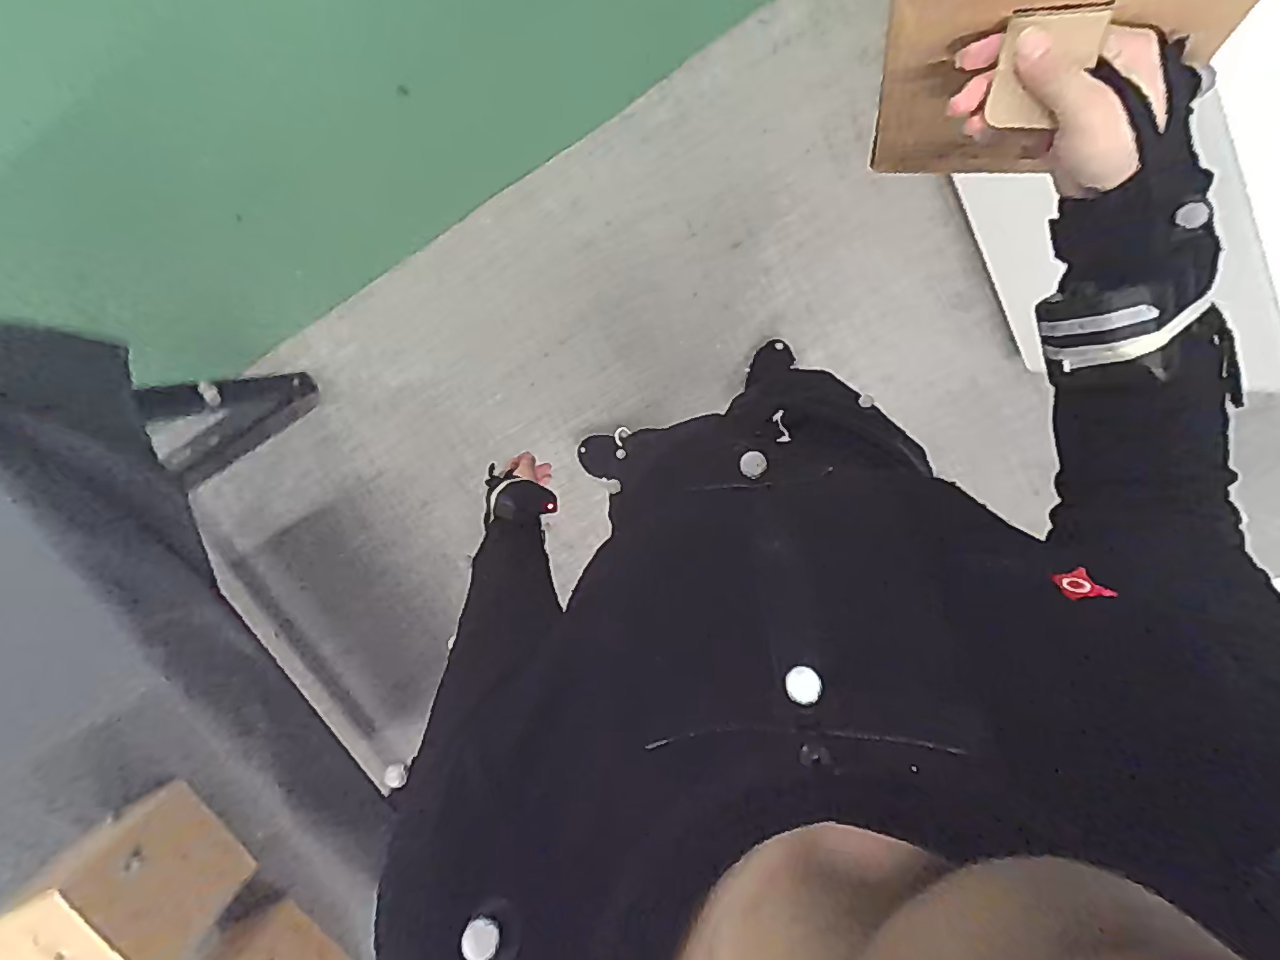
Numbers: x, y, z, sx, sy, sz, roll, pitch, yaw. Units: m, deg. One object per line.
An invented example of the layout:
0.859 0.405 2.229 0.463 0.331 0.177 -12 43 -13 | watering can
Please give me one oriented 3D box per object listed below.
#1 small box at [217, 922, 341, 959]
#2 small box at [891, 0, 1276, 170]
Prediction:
-0.543 0.775 0.763 0.168 0.176 0.179 -34 100 12 | small box
0.261 -0.325 0.329 0.168 0.176 0.179 12 92 20 | small box
